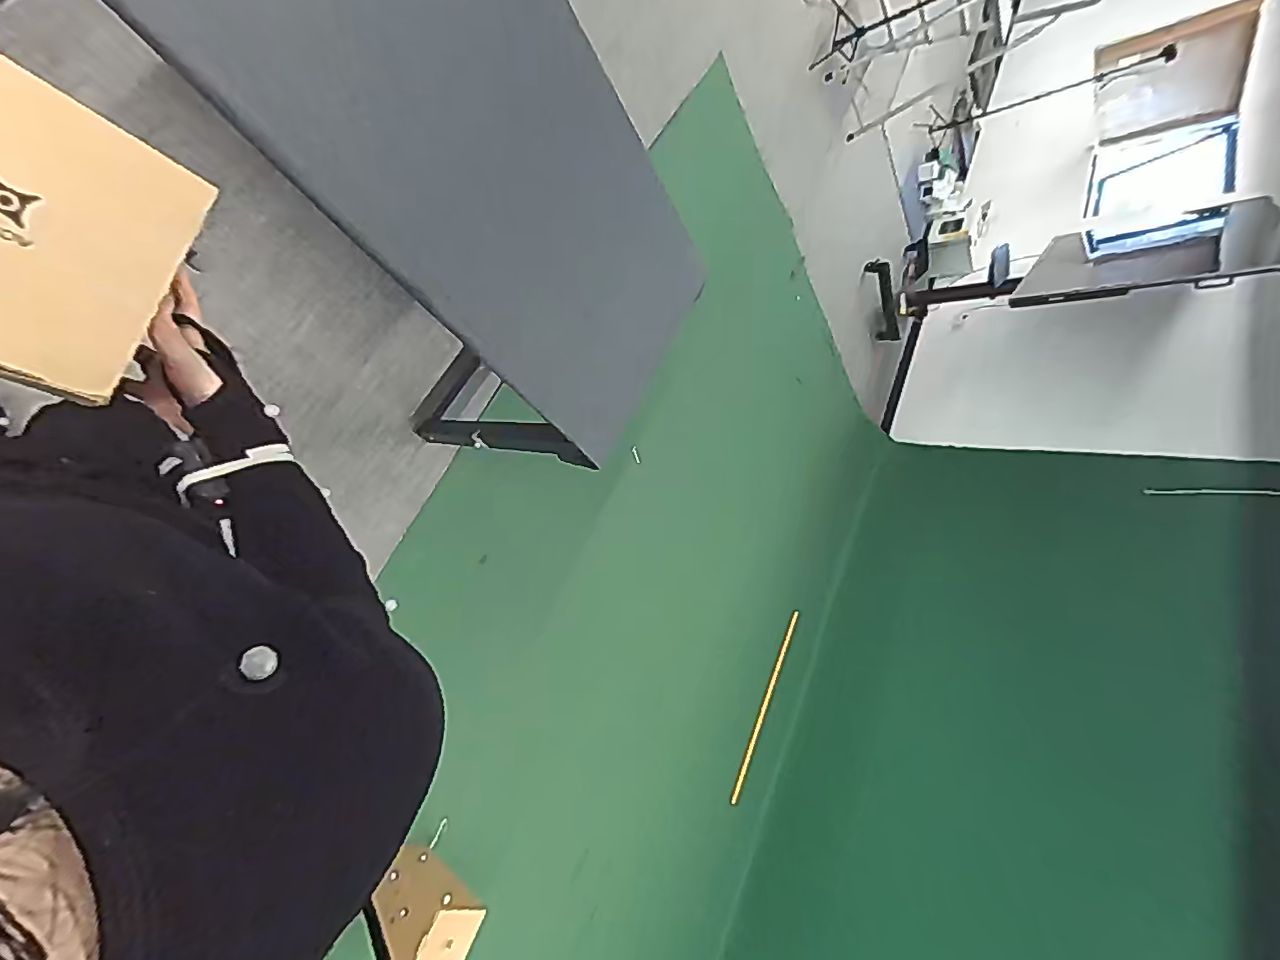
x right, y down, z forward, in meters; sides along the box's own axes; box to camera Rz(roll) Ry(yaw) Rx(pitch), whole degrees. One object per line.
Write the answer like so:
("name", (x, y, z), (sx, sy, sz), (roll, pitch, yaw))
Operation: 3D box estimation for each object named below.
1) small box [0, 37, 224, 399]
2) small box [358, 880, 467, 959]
("small box", (-0.435, -0.168, 0.366), (0.168, 0.176, 0.179), (32, 70, -48))
("small box", (-0.613, 1.215, 1.458), (0.179, 0.176, 0.168), (47, 60, -44))
